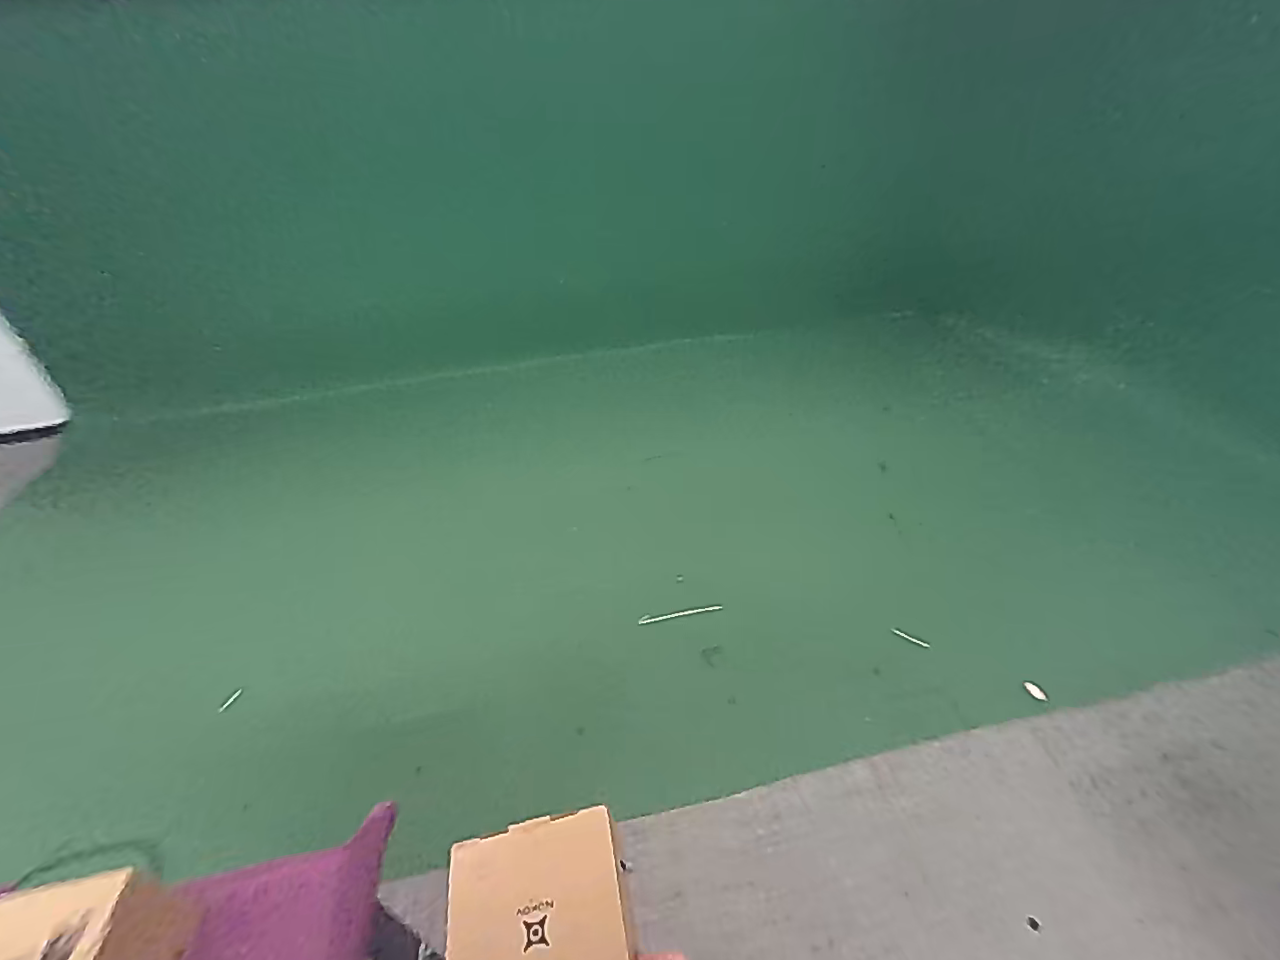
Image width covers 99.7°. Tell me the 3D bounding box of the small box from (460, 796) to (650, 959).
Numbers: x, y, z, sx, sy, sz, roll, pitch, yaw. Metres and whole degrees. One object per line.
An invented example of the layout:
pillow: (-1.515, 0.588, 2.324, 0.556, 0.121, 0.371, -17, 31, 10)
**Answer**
small box: (-0.079, 0.463, 0.559, 0.168, 0.176, 0.179, -10, 44, -5)
